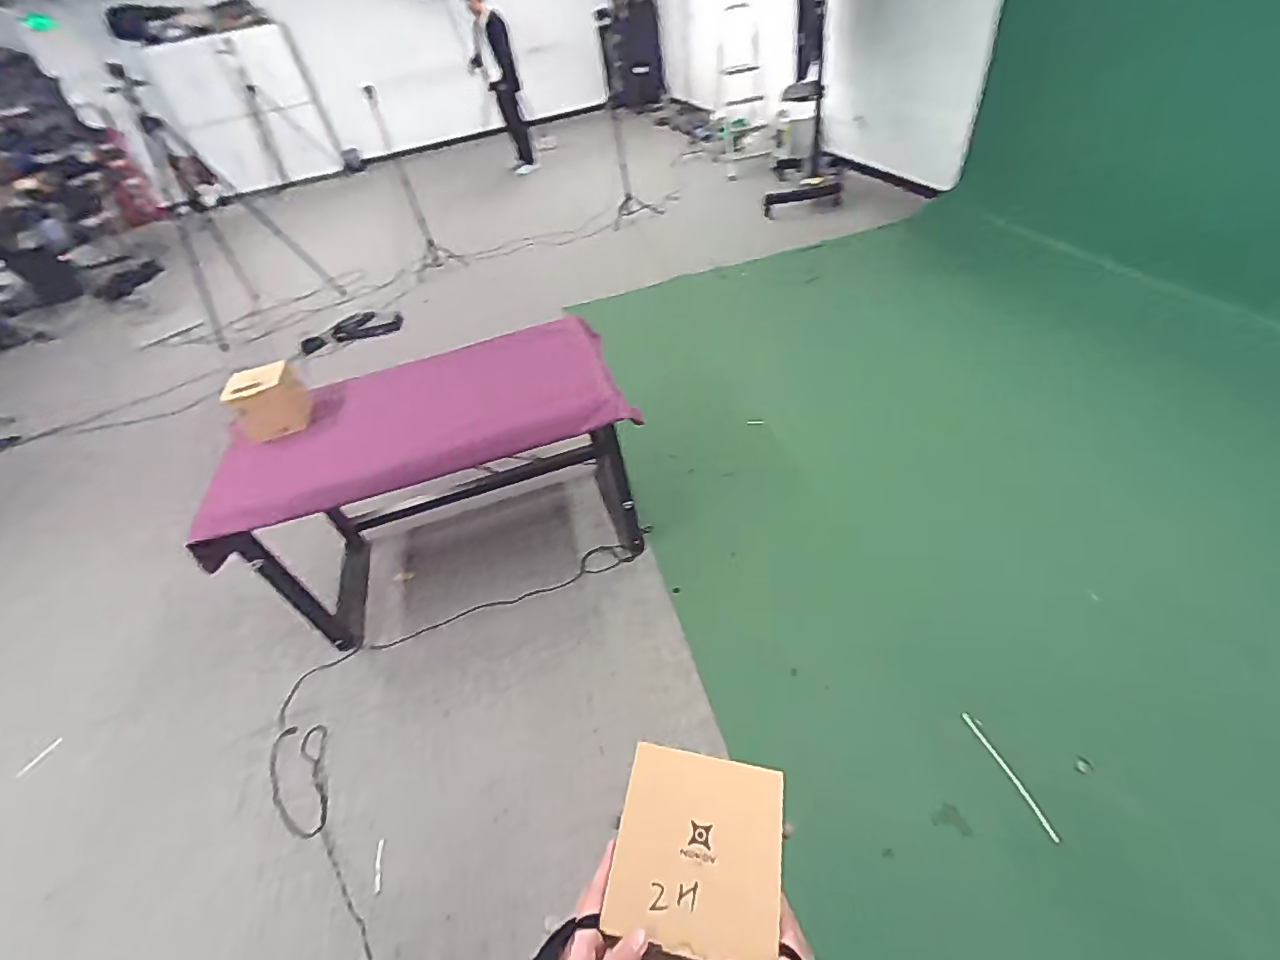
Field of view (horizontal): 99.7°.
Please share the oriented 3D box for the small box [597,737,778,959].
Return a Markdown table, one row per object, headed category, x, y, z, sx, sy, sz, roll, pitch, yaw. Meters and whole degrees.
| category | x | y | z | sx | sy | sz | roll | pitch | yaw |
| --- | --- | --- | --- | --- | --- | --- | --- | --- | --- |
| small box | 0.056 | 0.423 | 0.602 | 0.168 | 0.176 | 0.179 | 7 | 44 | 10 |
